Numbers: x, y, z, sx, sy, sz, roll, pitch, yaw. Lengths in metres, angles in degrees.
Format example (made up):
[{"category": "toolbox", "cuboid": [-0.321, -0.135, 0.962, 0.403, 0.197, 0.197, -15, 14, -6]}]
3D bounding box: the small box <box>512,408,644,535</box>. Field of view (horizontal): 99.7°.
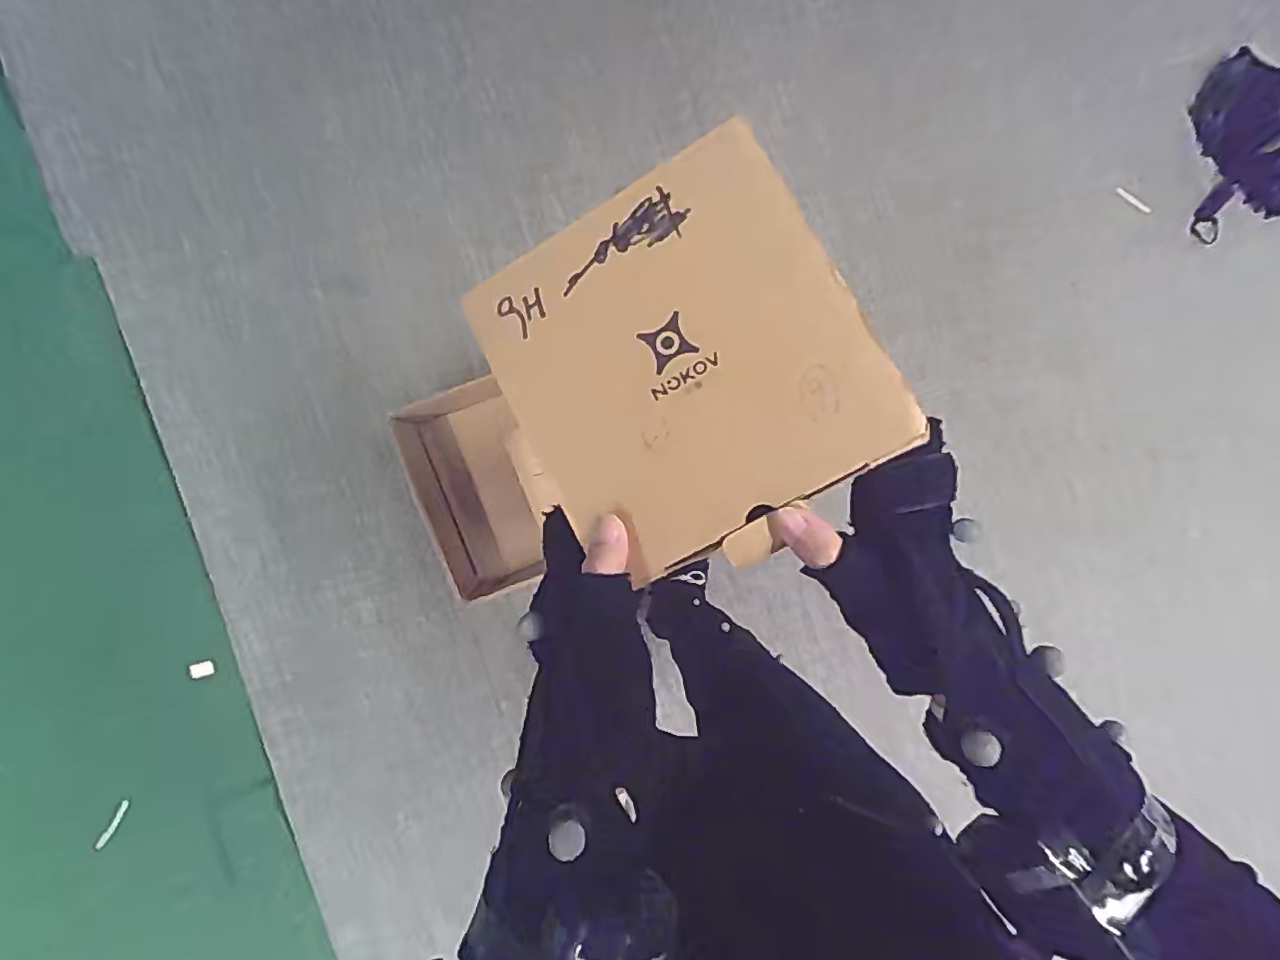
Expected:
[{"category": "small box", "cuboid": [-0.106, -0.015, 0.956, 0.179, 0.176, 0.168, -21, 90, -3]}]
